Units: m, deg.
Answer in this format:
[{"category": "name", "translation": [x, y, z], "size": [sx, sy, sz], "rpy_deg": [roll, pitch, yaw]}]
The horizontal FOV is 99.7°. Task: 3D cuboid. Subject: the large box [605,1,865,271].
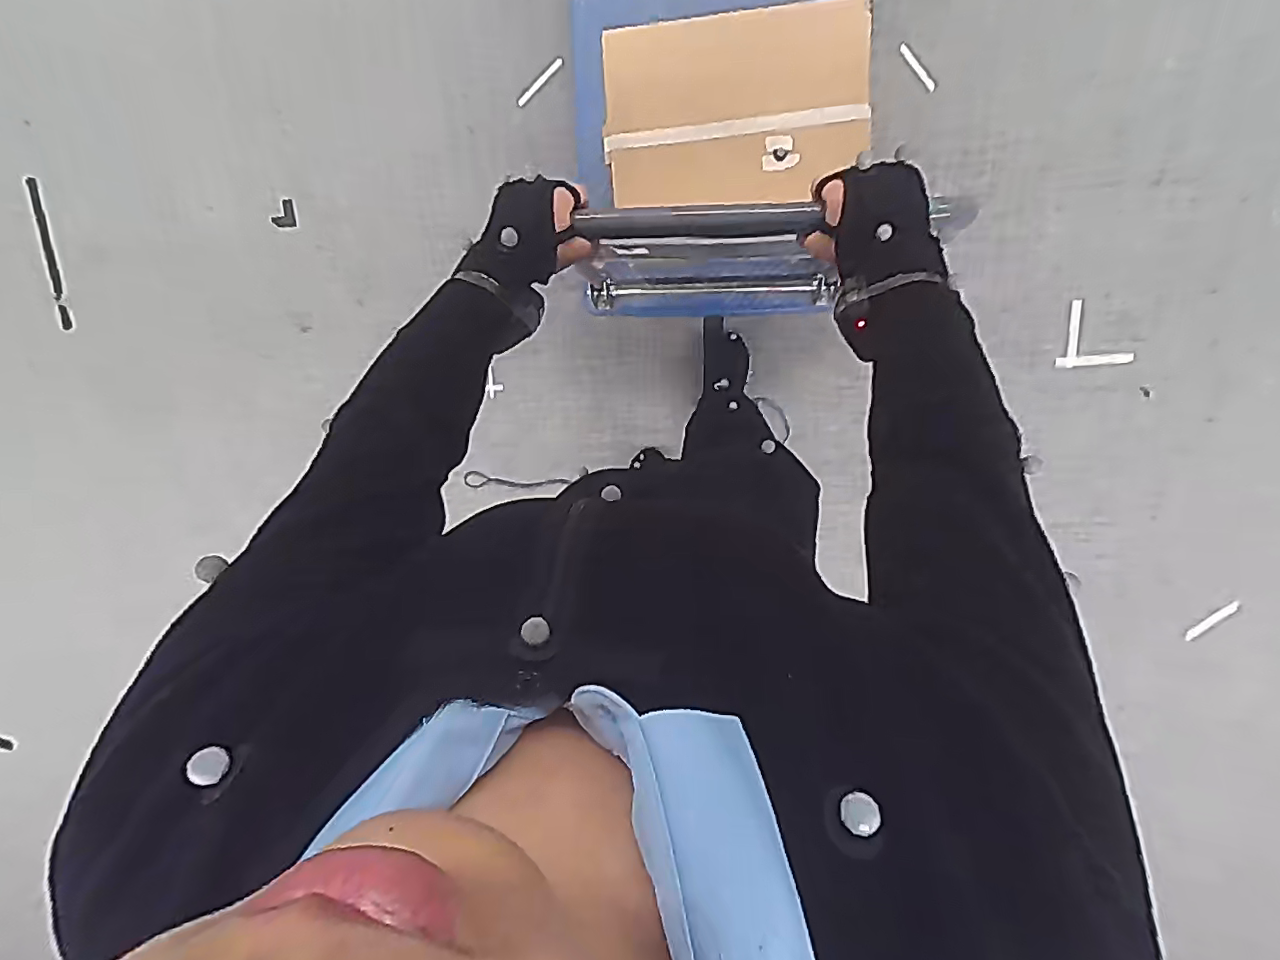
[{"category": "large box", "translation": [0.164, -0.592, 1.008], "size": [0.408, 0.320, 0.320], "rpy_deg": [-3, 104, 6]}]
